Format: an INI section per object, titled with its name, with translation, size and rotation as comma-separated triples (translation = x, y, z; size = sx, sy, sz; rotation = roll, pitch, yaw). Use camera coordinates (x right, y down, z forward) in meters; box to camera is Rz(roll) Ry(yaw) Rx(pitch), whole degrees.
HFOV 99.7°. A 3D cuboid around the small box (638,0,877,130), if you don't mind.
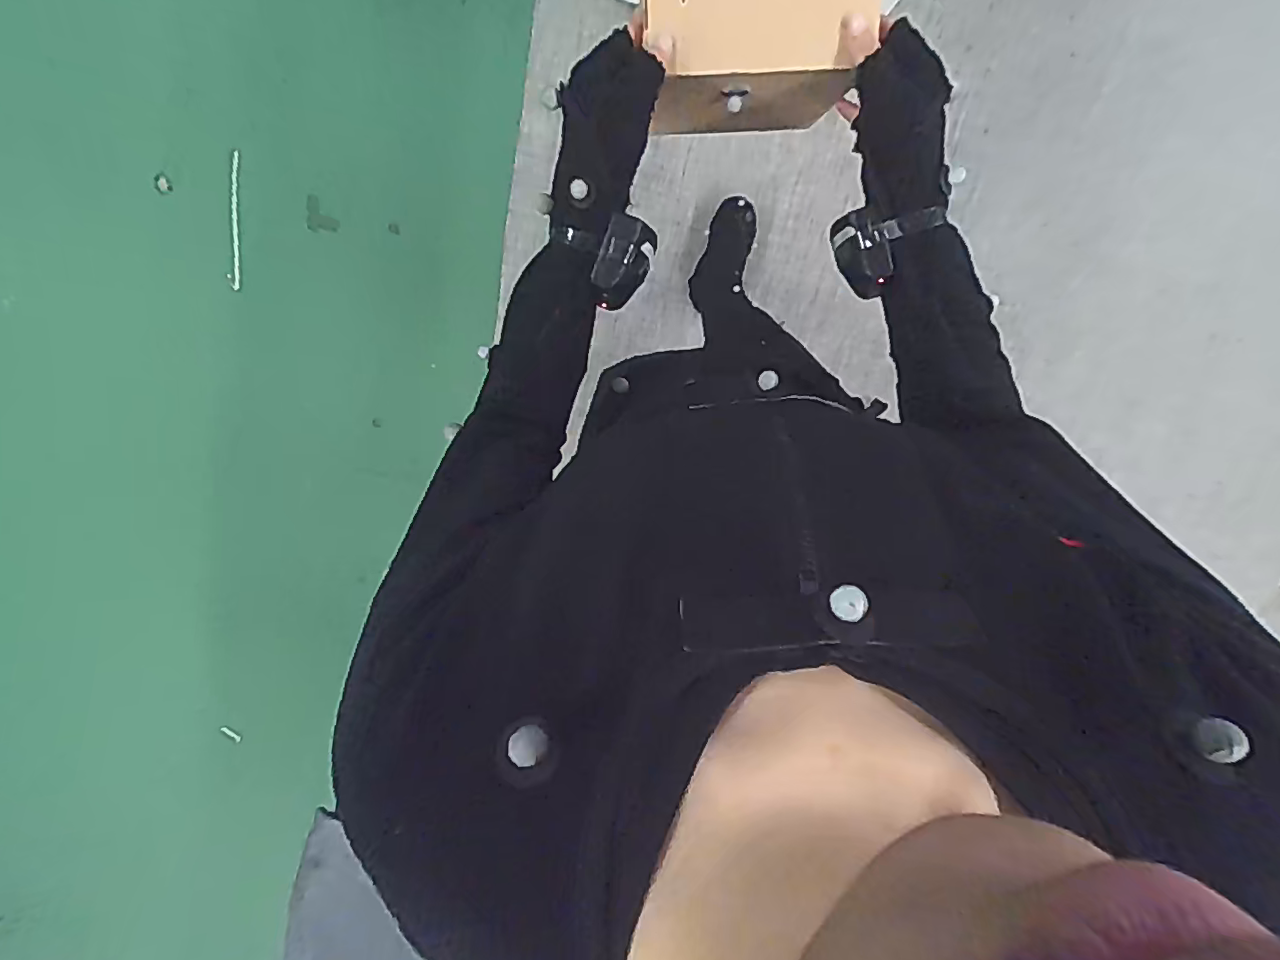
[small box]
translation = 0.086, -0.414, 0.458
size = 0.179, 0.176, 0.168
rotation = -2, 109, 0
